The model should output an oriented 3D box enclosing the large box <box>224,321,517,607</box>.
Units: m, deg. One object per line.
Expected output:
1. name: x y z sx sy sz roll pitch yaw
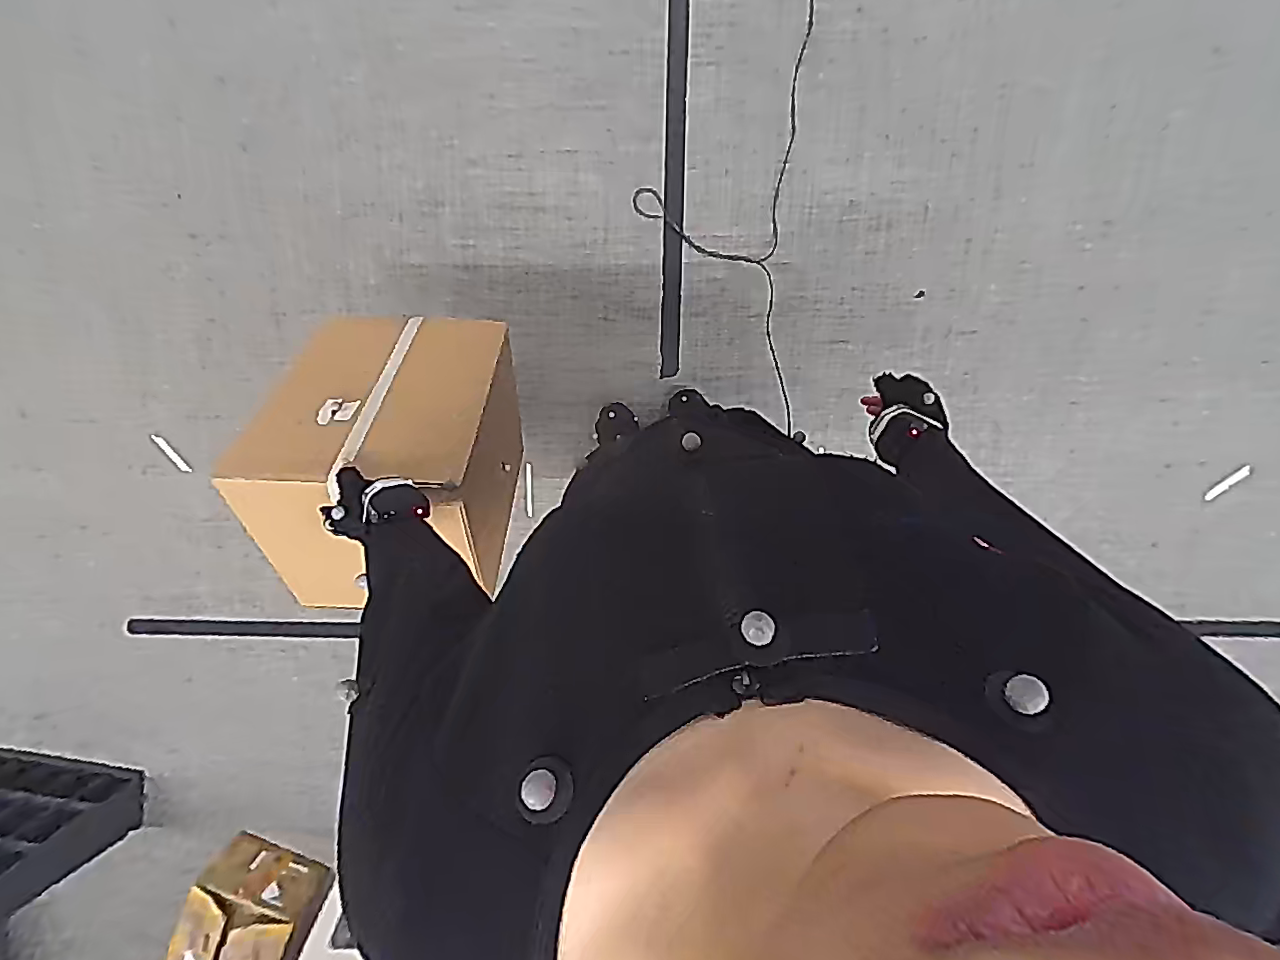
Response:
1. large box: -0.407 -0.033 0.954 0.320 0.408 0.320 2 137 -2
